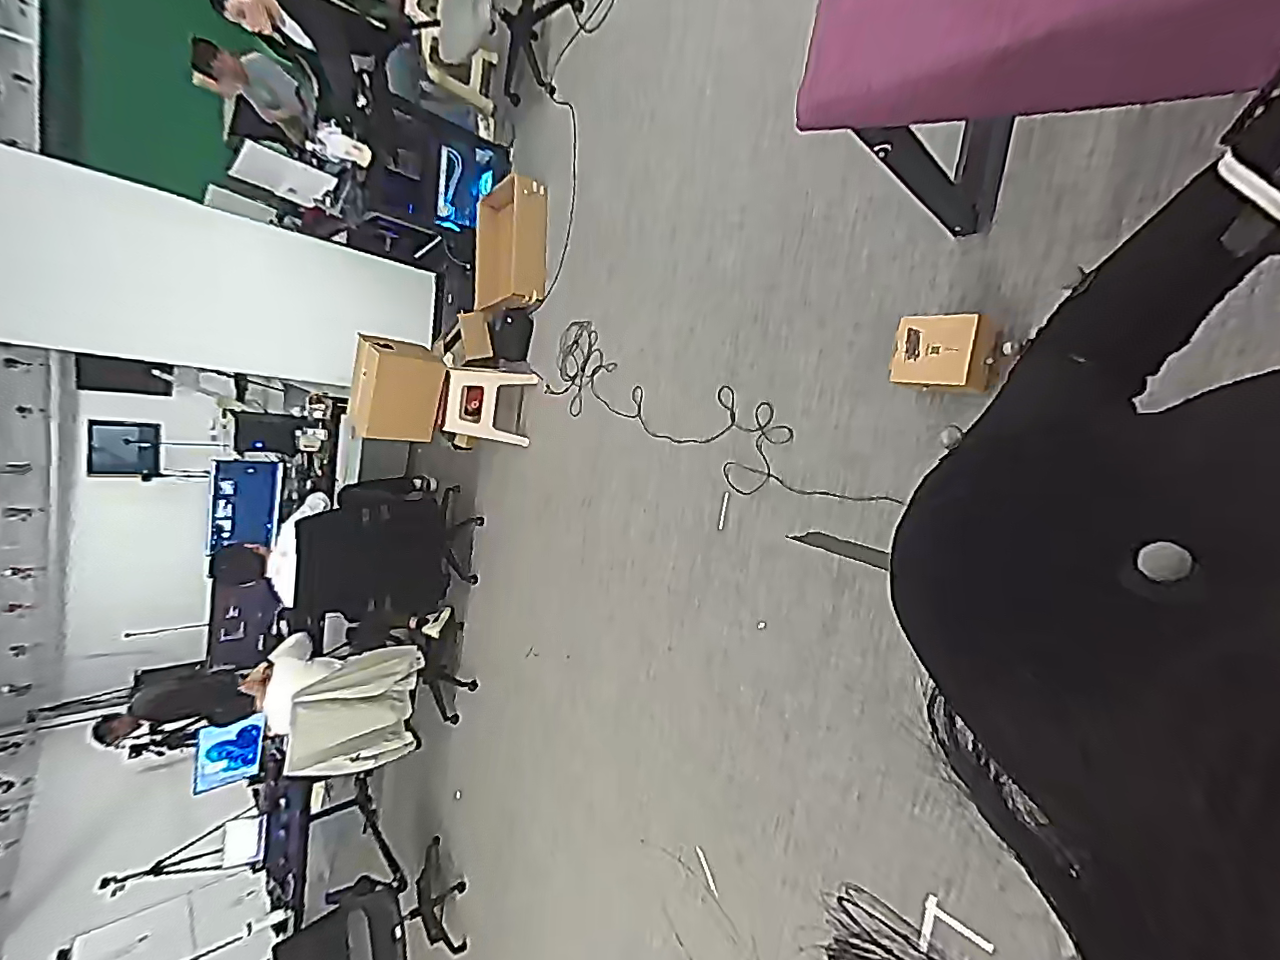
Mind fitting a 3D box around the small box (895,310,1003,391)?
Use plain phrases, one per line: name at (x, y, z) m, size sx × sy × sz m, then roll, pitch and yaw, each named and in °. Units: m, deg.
small box at (0.766, -0.316, 1.339) m, size 0.179 × 0.176 × 0.168 m, roll 14°, pitch 99°, yaw 45°
